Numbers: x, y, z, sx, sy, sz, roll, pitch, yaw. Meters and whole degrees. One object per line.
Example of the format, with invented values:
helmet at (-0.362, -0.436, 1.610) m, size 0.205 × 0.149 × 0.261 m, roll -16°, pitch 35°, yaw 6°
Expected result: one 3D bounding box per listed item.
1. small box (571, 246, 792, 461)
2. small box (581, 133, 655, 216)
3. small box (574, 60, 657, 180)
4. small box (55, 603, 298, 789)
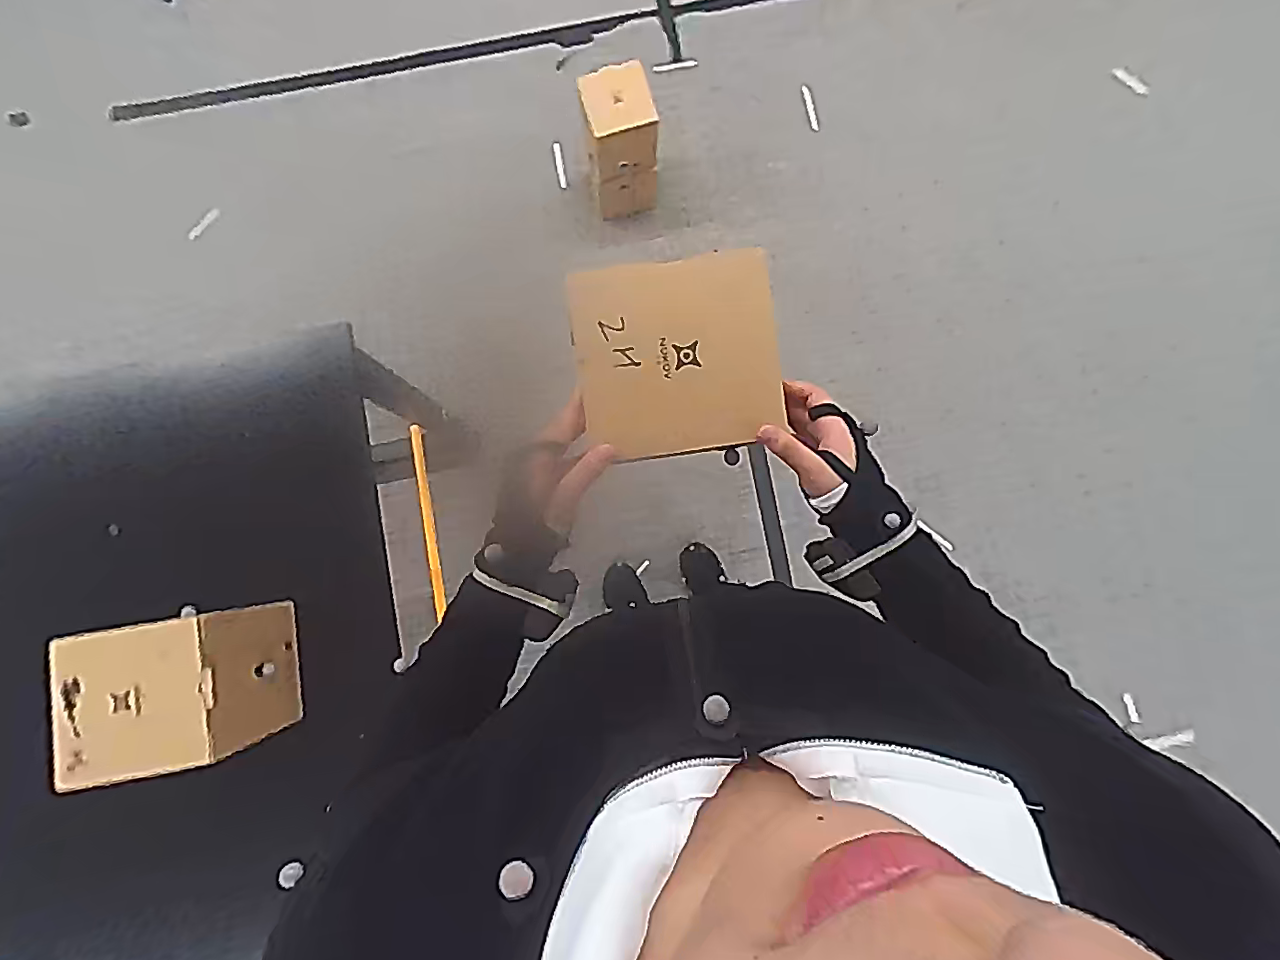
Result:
small box at (0.036, -0.112, 0.542) m, size 0.179 × 0.176 × 0.168 m, roll -8°, pitch 91°, yaw 1°
small box at (-0.060, -0.896, 1.564) m, size 0.179 × 0.176 × 0.168 m, roll -14°, pitch 83°, yaw -2°
small box at (-0.062, -0.926, 1.403) m, size 0.168 × 0.176 × 0.179 m, roll -18°, pitch 85°, yaw -1°
small box at (-0.568, 0.258, 0.689) m, size 0.179 × 0.176 × 0.168 m, roll -10°, pitch 83°, yaw -1°
